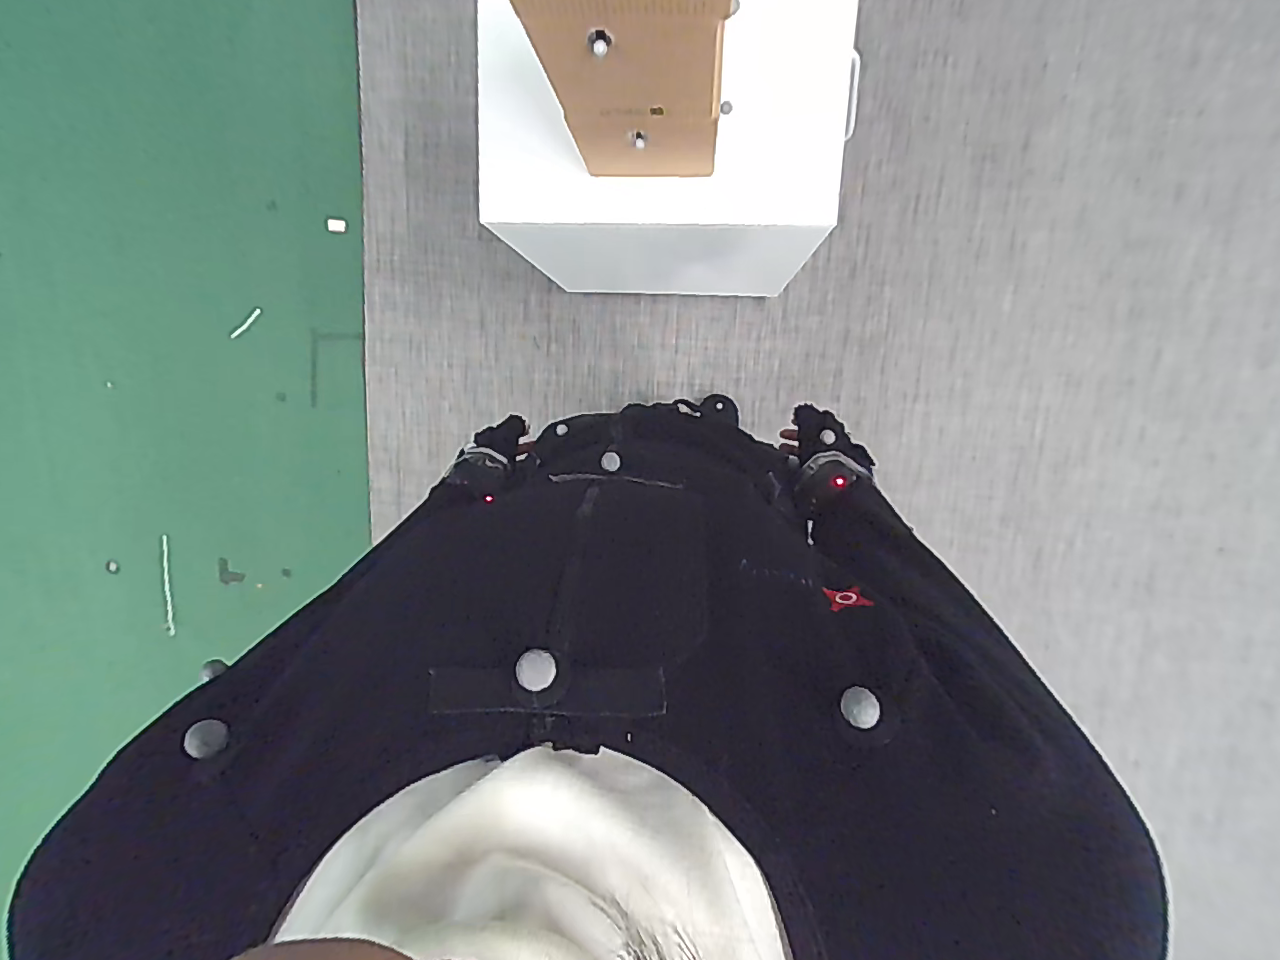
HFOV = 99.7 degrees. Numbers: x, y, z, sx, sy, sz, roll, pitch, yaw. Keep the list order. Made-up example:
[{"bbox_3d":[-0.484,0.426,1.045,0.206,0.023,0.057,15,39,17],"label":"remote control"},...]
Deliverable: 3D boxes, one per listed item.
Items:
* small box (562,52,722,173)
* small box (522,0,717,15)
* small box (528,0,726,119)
[{"bbox_3d":[0.010,-0.498,0.667,0.179,0.176,0.168,3,100,5],"label":"small box"},{"bbox_3d":[-0.019,-0.444,0.345,0.179,0.176,0.168,5,100,5],"label":"small box"},{"bbox_3d":[-0.004,-0.475,0.508,0.168,0.176,0.179,2,100,5],"label":"small box"}]
